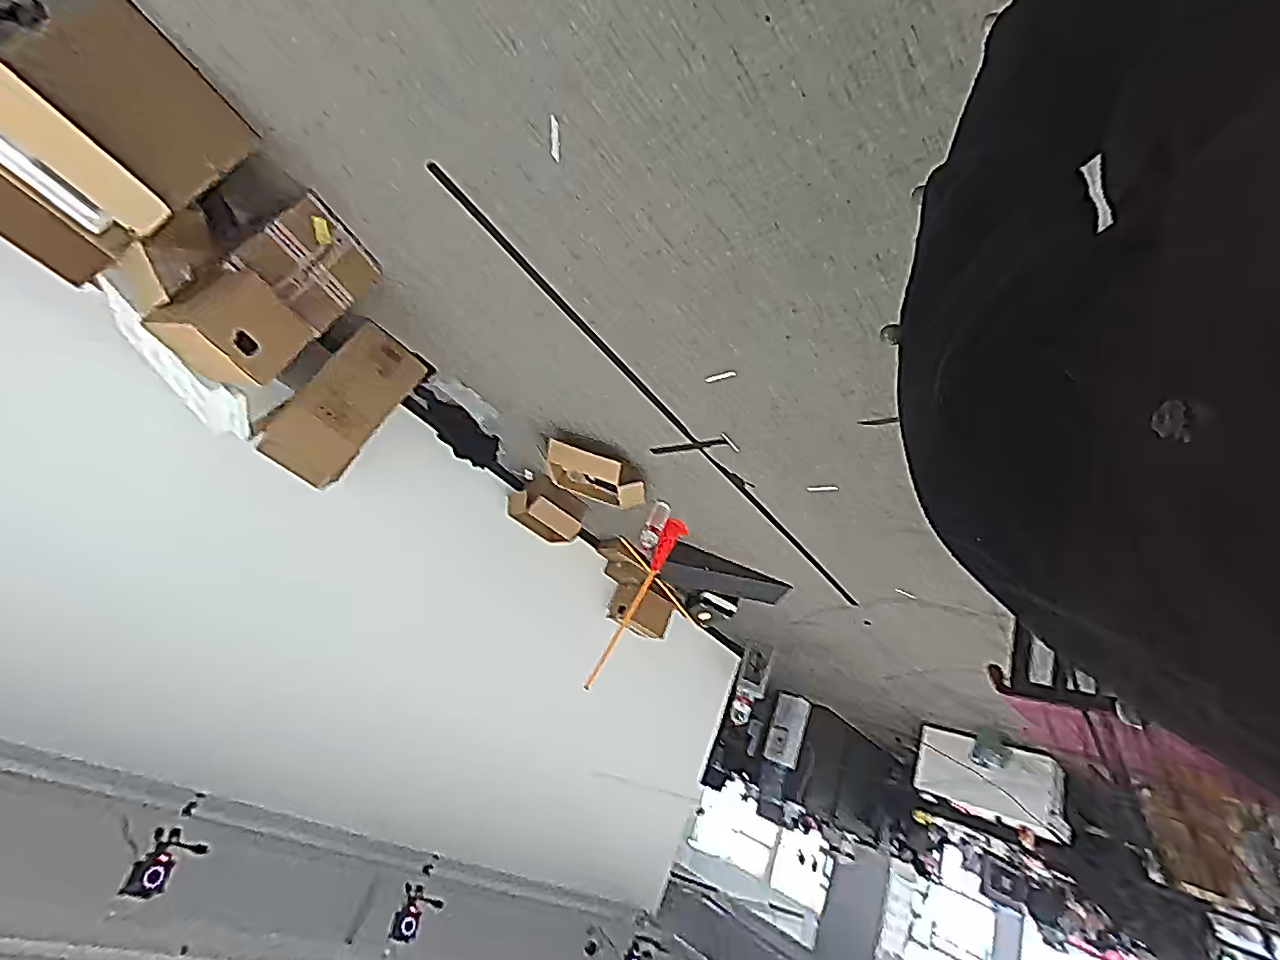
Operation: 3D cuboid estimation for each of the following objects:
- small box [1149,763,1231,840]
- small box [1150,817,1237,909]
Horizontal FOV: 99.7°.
[{"bbox_3d":[1.740,1.024,1.715,0.179,0.176,0.168,-3,142,45],"label":"small box"},{"bbox_3d":[1.676,1.158,1.645,0.179,0.176,0.168,-2,142,44],"label":"small box"}]
